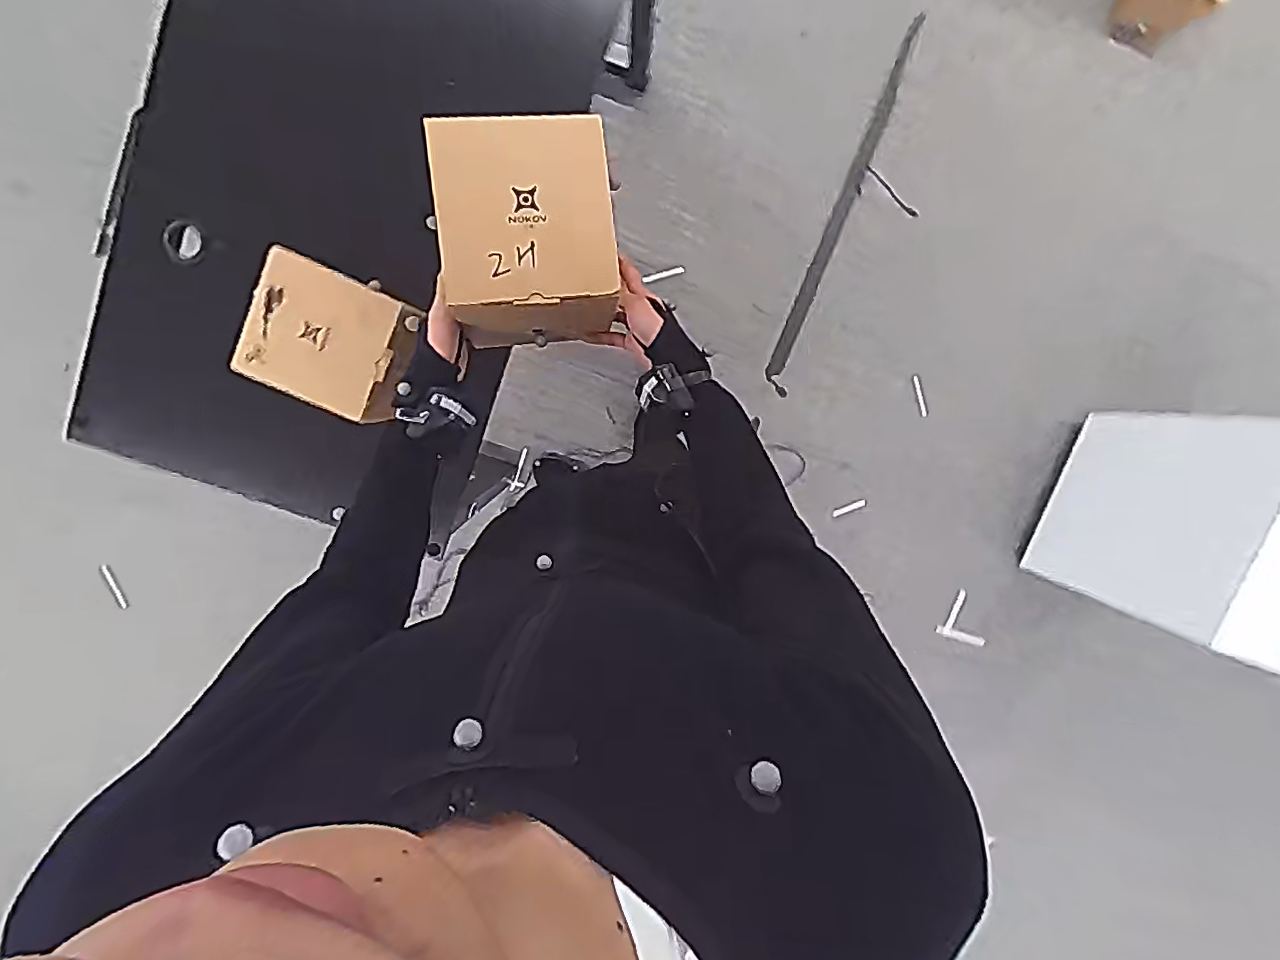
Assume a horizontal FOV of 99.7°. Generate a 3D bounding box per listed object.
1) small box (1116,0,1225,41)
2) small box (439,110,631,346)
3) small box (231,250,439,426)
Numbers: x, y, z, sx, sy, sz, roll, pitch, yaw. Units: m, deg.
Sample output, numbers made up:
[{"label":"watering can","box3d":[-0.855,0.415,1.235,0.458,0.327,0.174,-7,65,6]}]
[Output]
[{"label":"small box","box3d":[1.408,-1.312,1.406,0.168,0.176,0.179,18,98,-4]},{"label":"small box","box3d":[-0.107,-0.253,0.578,0.168,0.176,0.179,-6,91,-8]},{"label":"small box","box3d":[-0.408,-0.189,0.757,0.179,0.176,0.168,24,97,-6]}]
